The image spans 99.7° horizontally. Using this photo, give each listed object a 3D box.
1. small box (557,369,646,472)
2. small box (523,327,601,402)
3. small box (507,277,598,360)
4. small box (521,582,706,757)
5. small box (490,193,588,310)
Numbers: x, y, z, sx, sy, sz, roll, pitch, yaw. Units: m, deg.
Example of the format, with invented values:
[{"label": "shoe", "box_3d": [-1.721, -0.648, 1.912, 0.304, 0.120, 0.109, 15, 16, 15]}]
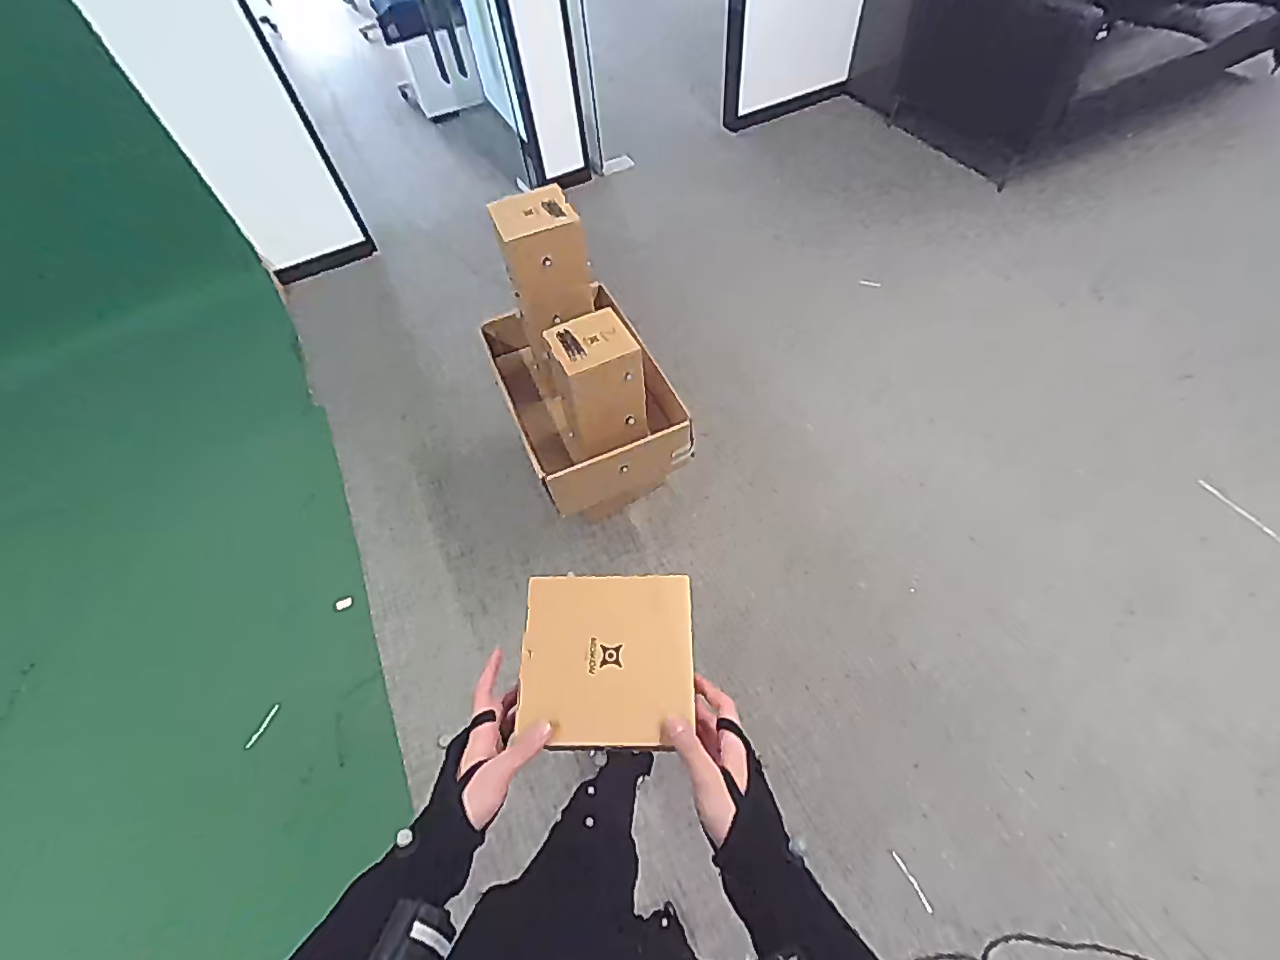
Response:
[{"label": "small box", "box_3d": [-0.095, -0.151, 1.398, 0.179, 0.176, 0.168, -23, 57, -12]}, {"label": "small box", "box_3d": [-0.216, -0.348, 1.545, 0.179, 0.176, 0.168, -19, 58, -10]}, {"label": "small box", "box_3d": [-0.224, -0.442, 1.411, 0.179, 0.176, 0.168, -21, 59, -9]}, {"label": "small box", "box_3d": [-0.022, 0.218, 0.612, 0.179, 0.176, 0.168, -1, 62, 3]}, {"label": "small box", "box_3d": [-0.230, -0.534, 1.274, 0.179, 0.176, 0.168, -21, 58, -10]}]
